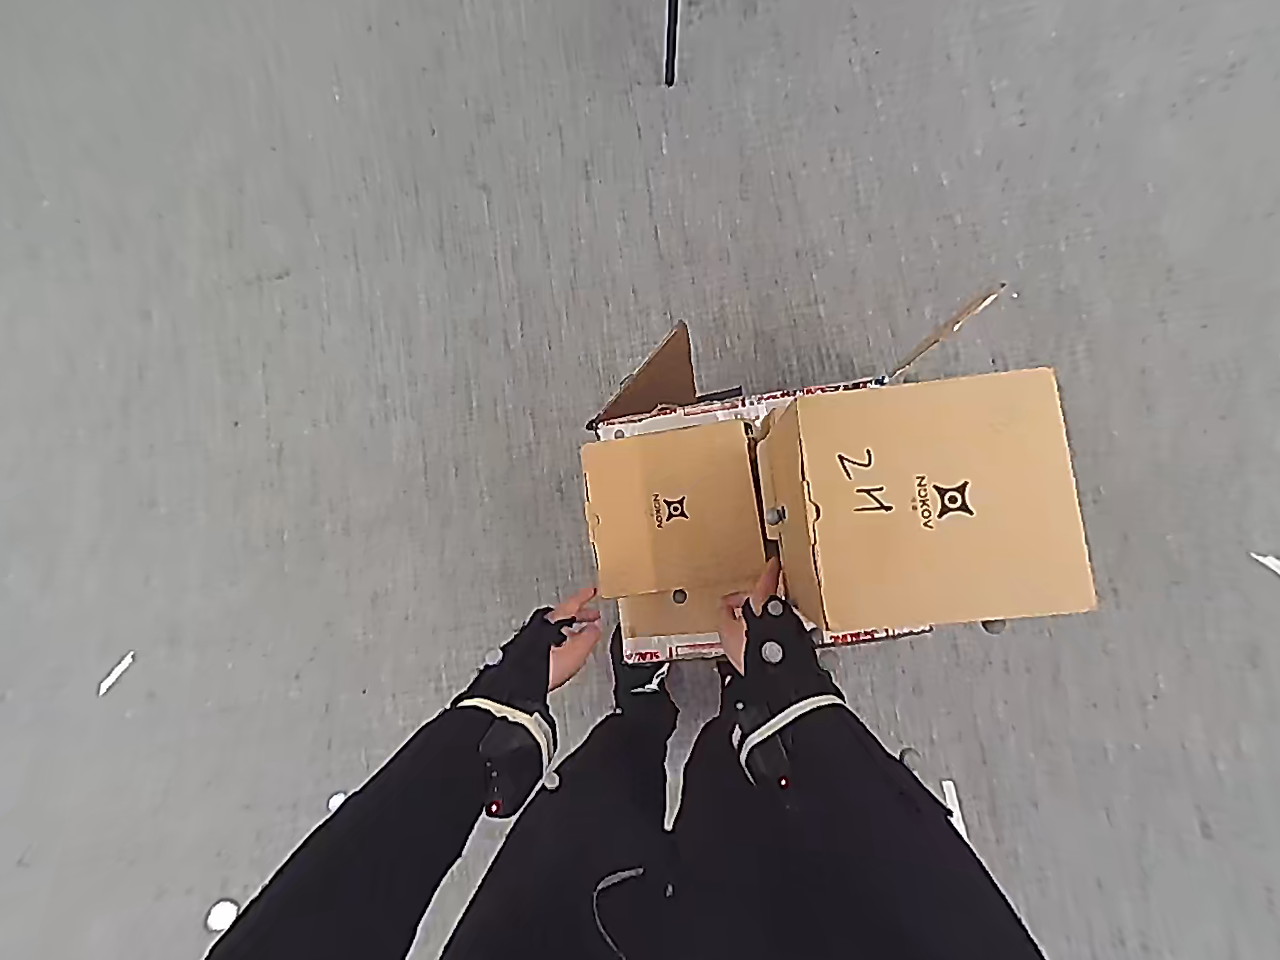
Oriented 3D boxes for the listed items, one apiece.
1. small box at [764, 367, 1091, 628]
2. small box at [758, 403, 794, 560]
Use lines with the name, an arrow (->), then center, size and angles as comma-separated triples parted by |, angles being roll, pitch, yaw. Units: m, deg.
small box -> 0.208, 0.018, 0.444 | 0.179, 0.176, 0.168 | -7, 84, 6
small box -> 0.228, 0.008, 0.609 | 0.179, 0.176, 0.168 | -3, 85, 6
